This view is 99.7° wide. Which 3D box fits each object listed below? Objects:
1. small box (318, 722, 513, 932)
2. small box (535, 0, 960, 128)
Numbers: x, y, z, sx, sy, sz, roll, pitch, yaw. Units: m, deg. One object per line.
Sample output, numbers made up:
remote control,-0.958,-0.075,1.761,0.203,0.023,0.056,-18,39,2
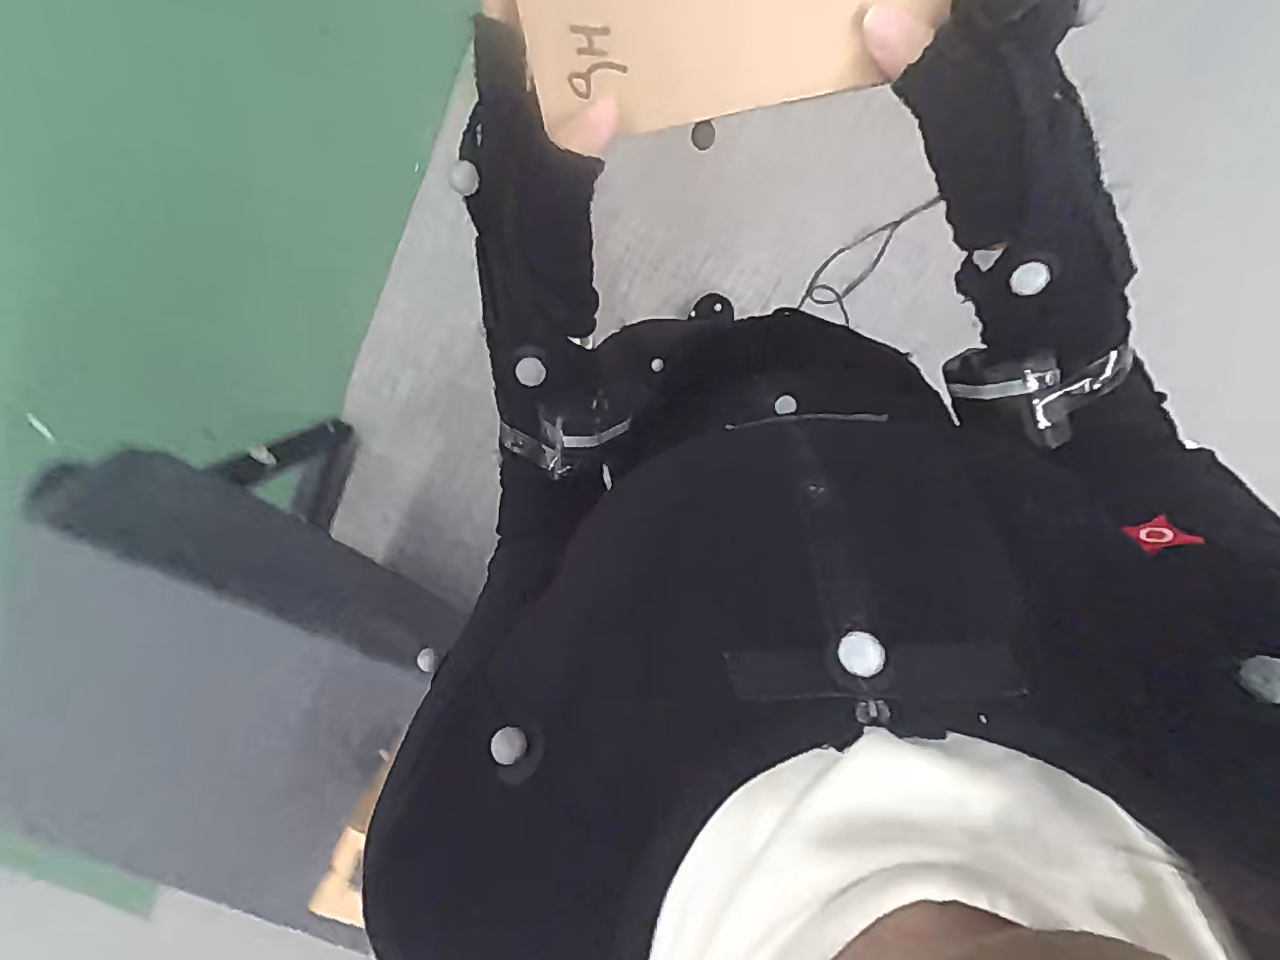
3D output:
small box,-0.312,0.487,0.782,0.179,0.176,0.168,30,110,-8
small box,0.033,-0.278,0.258,0.179,0.176,0.168,-9,122,2
